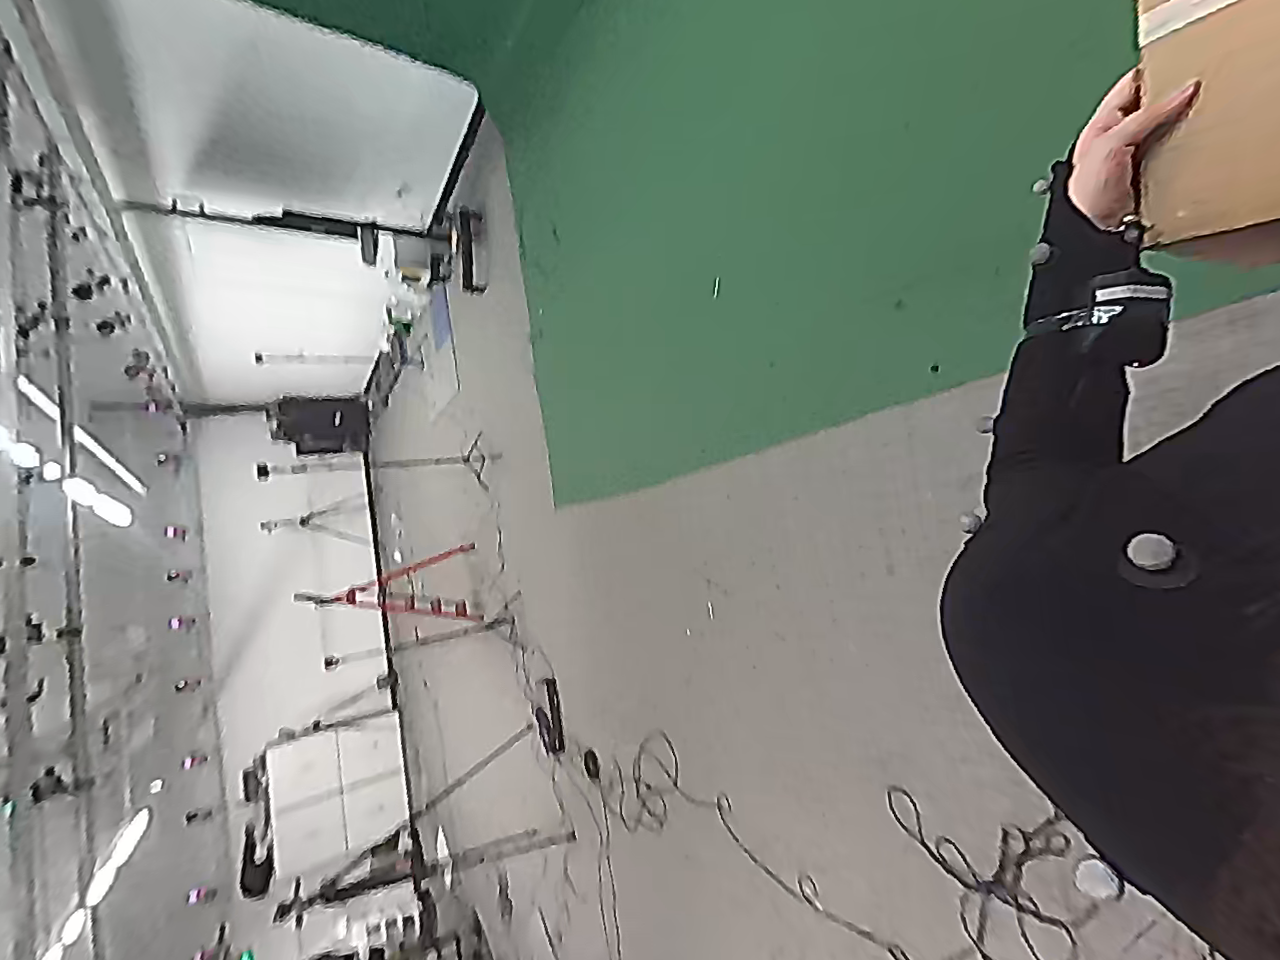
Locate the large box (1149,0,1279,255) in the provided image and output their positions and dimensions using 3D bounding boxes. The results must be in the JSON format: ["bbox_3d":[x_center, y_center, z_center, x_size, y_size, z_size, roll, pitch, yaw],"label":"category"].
[{"bbox_3d":[0.621,-0.354,0.320,0.408,0.320,0.320,6,103,58],"label":"large box"}]
